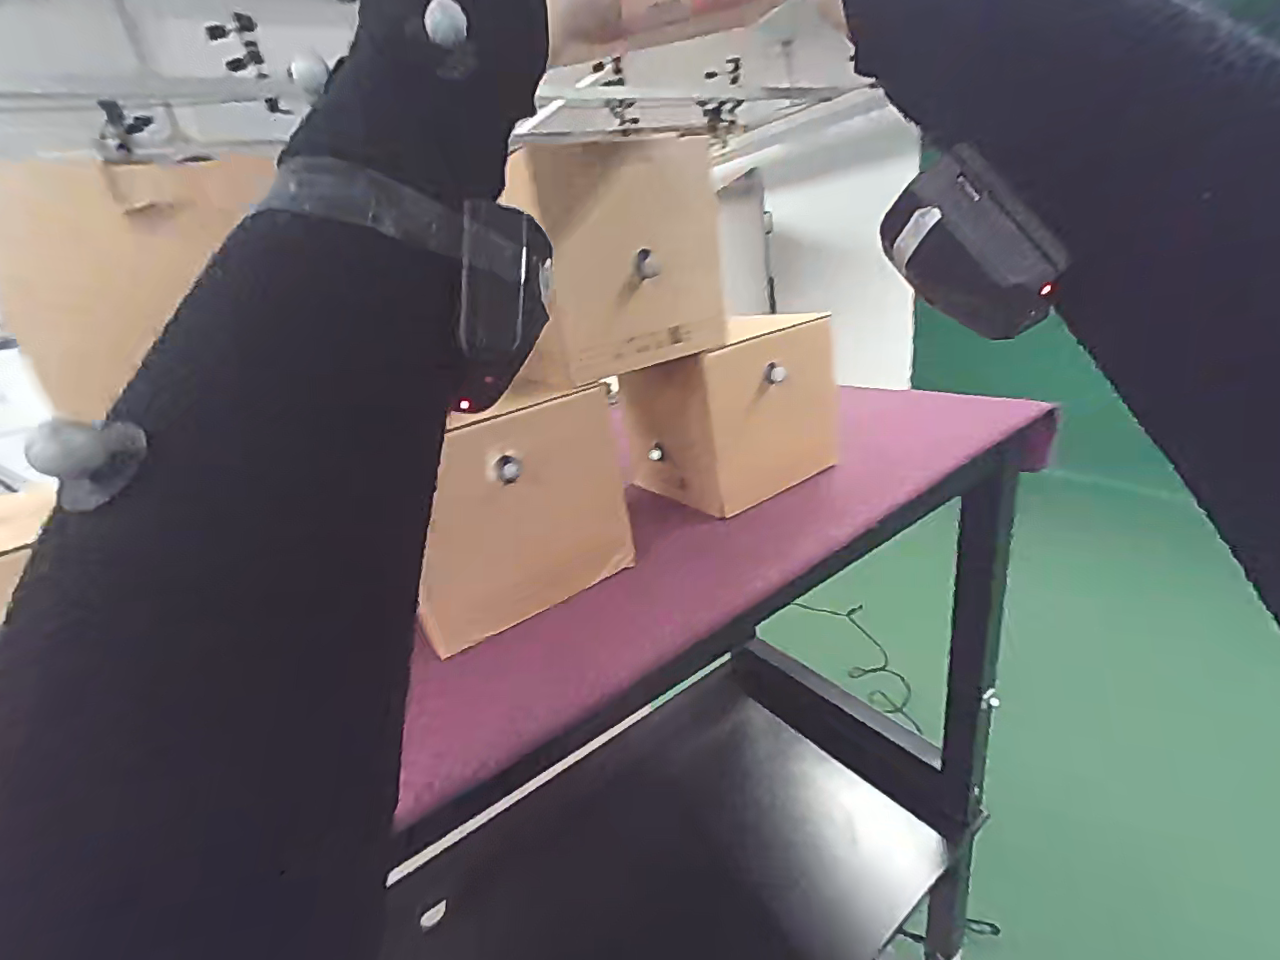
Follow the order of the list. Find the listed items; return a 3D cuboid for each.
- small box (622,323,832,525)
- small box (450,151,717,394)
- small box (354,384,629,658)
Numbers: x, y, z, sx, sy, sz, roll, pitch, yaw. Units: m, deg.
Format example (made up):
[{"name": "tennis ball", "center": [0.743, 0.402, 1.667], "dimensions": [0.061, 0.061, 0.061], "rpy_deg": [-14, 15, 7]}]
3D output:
[{"name": "small box", "center": [0.095, -0.073, 0.607], "dimensions": [0.179, 0.176, 0.168], "rpy_deg": [-24, 25, -27]}, {"name": "small box", "center": [-0.048, -0.180, 0.493], "dimensions": [0.168, 0.176, 0.179], "rpy_deg": [-22, 25, -28]}, {"name": "small box", "center": [-0.131, 0.021, 0.474], "dimensions": [0.179, 0.176, 0.168], "rpy_deg": [-22, 24, -28]}]
